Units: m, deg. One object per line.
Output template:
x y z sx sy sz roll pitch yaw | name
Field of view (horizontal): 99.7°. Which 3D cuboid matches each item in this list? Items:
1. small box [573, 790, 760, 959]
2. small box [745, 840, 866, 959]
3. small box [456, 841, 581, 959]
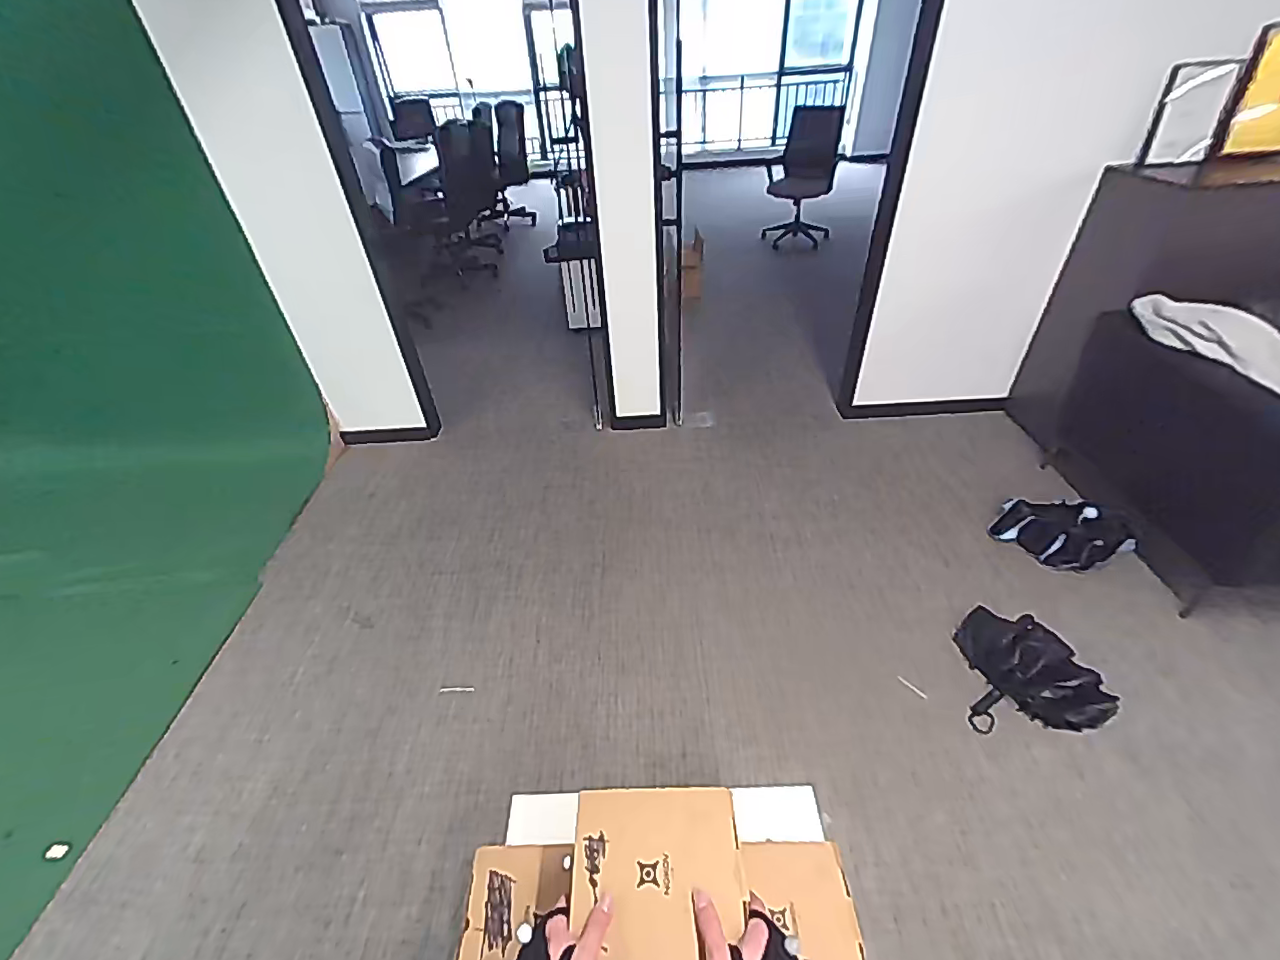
0.024 0.463 0.598 0.179 0.176 0.168 -1 40 0 | small box
0.174 0.586 0.697 0.179 0.176 0.168 -2 39 2 | small box
-0.126 0.591 0.699 0.179 0.176 0.168 0 40 -1 | small box
